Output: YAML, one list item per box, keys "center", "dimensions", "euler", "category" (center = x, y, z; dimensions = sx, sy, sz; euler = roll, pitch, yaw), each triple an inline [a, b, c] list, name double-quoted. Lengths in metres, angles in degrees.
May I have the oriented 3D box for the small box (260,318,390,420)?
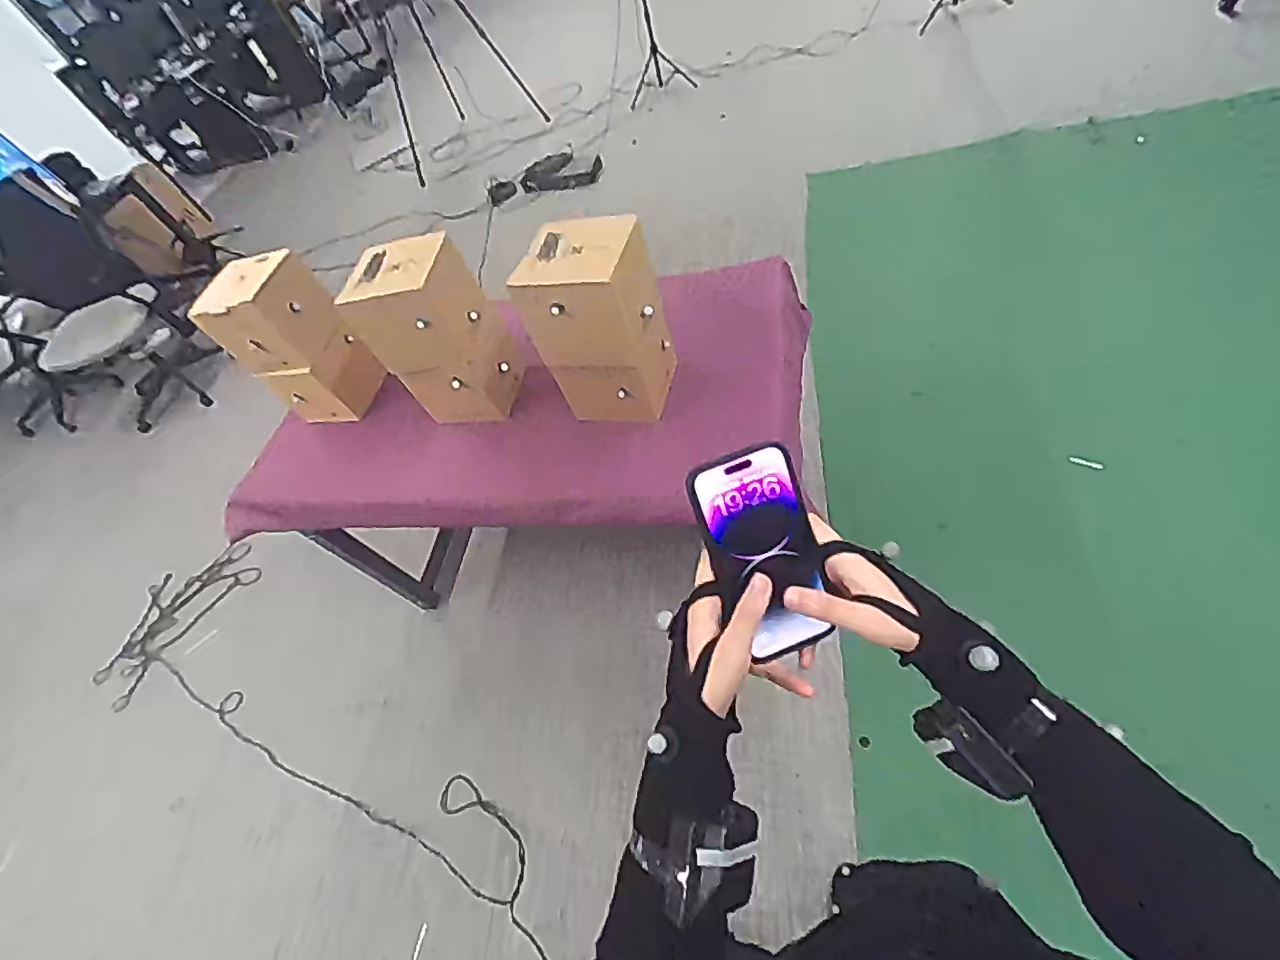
- center: [-0.731, -0.254, 1.279]
  dimensions: [0.168, 0.176, 0.179]
  euler: [1, 56, 18]
  category: "small box"

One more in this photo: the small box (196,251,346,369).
- center: [-0.772, -0.352, 1.154]
  dimensions: [0.168, 0.176, 0.179]
  euler: [-3, 56, 15]
  category: "small box"

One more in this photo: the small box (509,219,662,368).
- center: [-0.079, -0.302, 0.894]
  dimensions: [0.179, 0.176, 0.168]
  euler: [6, 58, 21]
  category: "small box"

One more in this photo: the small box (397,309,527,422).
- center: [-0.364, -0.236, 1.146]
  dimensions: [0.179, 0.176, 0.168]
  euler: [0, 56, 18]
  category: "small box"

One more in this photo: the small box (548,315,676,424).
- center: [-0.042, -0.223, 1.034]
  dimensions: [0.179, 0.176, 0.168]
  euler: [6, 57, 22]
  category: "small box"
